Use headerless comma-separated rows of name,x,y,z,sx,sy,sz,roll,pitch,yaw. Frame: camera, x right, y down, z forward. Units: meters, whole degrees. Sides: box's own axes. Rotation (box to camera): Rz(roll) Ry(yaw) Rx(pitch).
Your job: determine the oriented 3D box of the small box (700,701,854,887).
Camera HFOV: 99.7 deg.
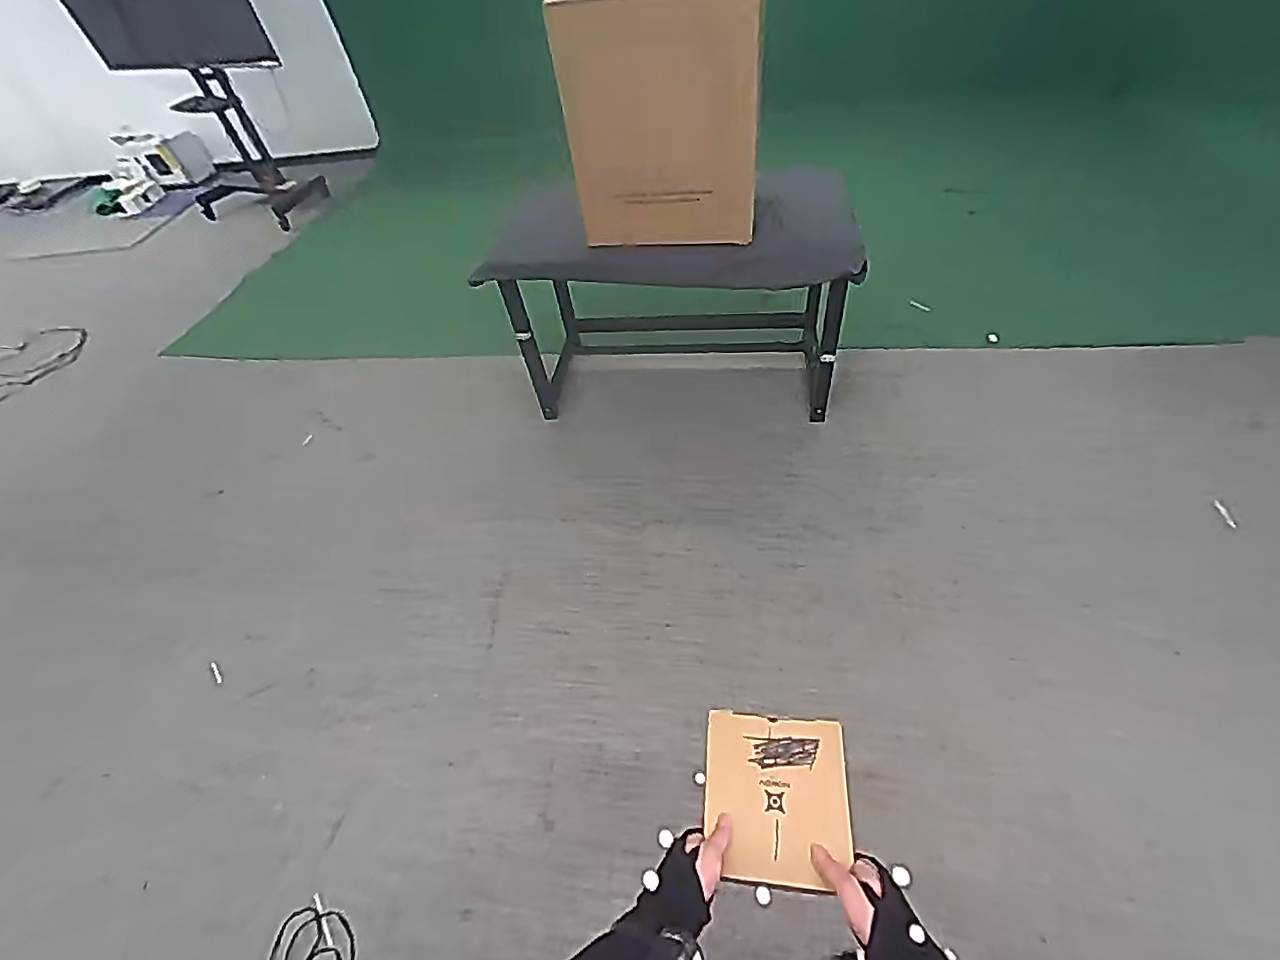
small box,0.165,0.407,0.699,0.168,0.176,0.179,2,53,8
